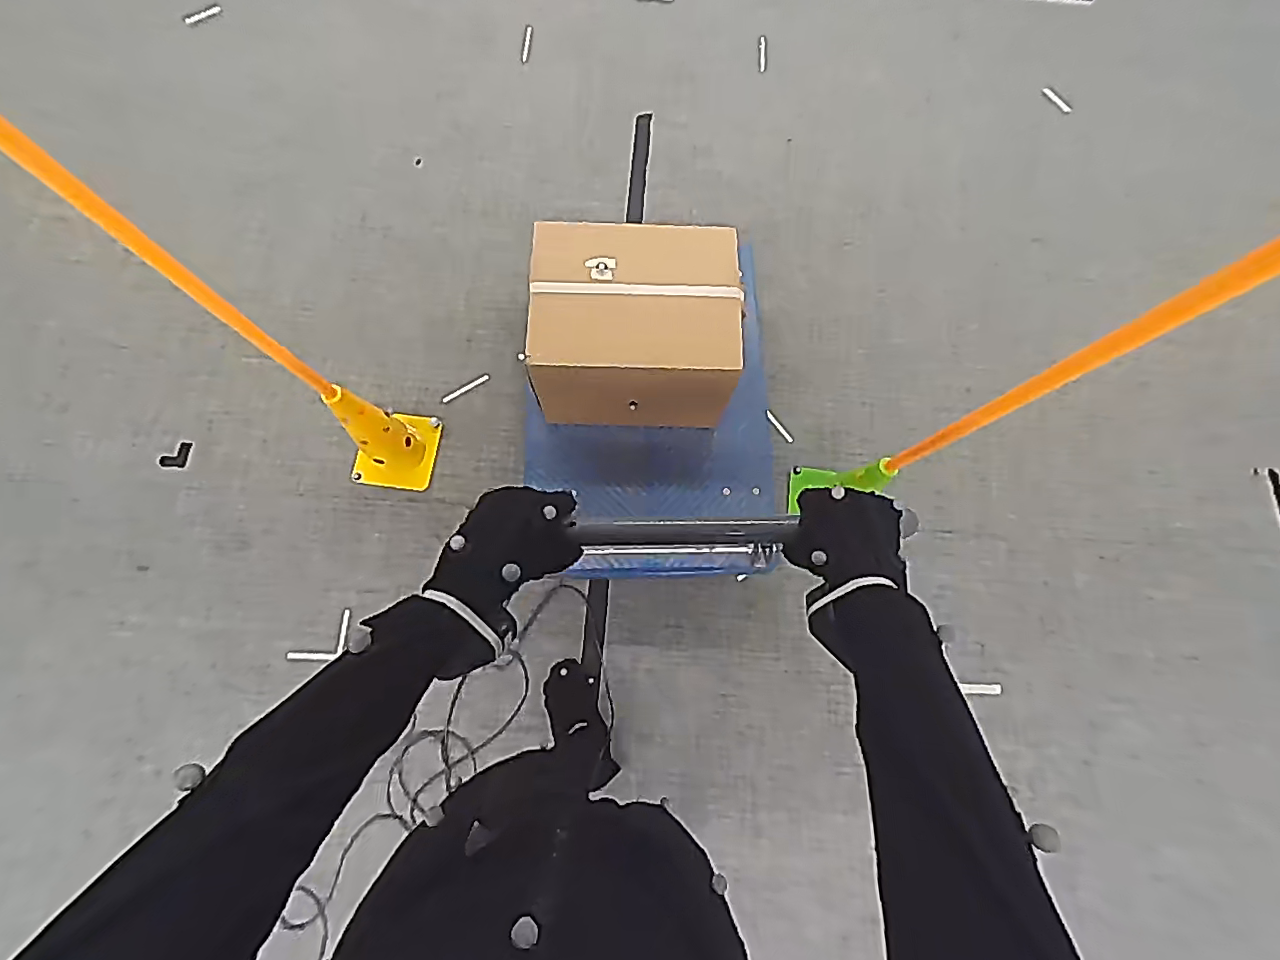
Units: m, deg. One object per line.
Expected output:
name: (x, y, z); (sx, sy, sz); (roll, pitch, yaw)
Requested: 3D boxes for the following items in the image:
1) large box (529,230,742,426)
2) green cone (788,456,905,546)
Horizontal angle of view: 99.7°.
large box: (-0.008, -0.312, 1.183); (0.408, 0.320, 0.320); (1, 75, -1)
green cone: (0.500, 0.021, 1.257); (0.202, 0.368, 0.200); (9, 74, -1)
